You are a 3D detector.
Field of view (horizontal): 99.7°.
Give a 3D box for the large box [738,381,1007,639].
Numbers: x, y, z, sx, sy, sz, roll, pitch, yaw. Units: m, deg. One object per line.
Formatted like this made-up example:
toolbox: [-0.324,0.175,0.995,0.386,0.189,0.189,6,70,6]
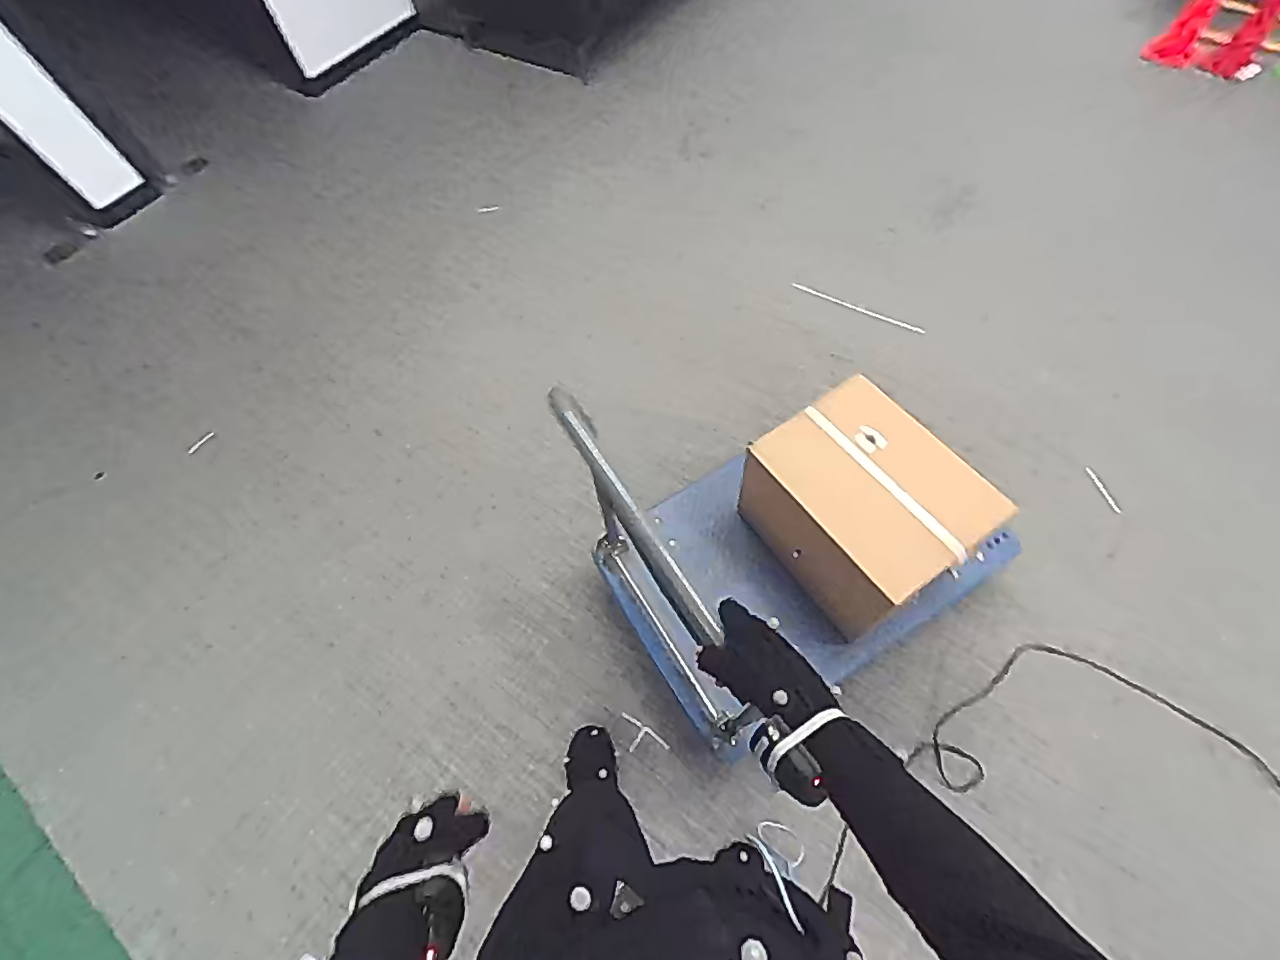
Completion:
large box: [0.465,0.070,1.188,0.320,0.320,0.408,-31,62,-12]
